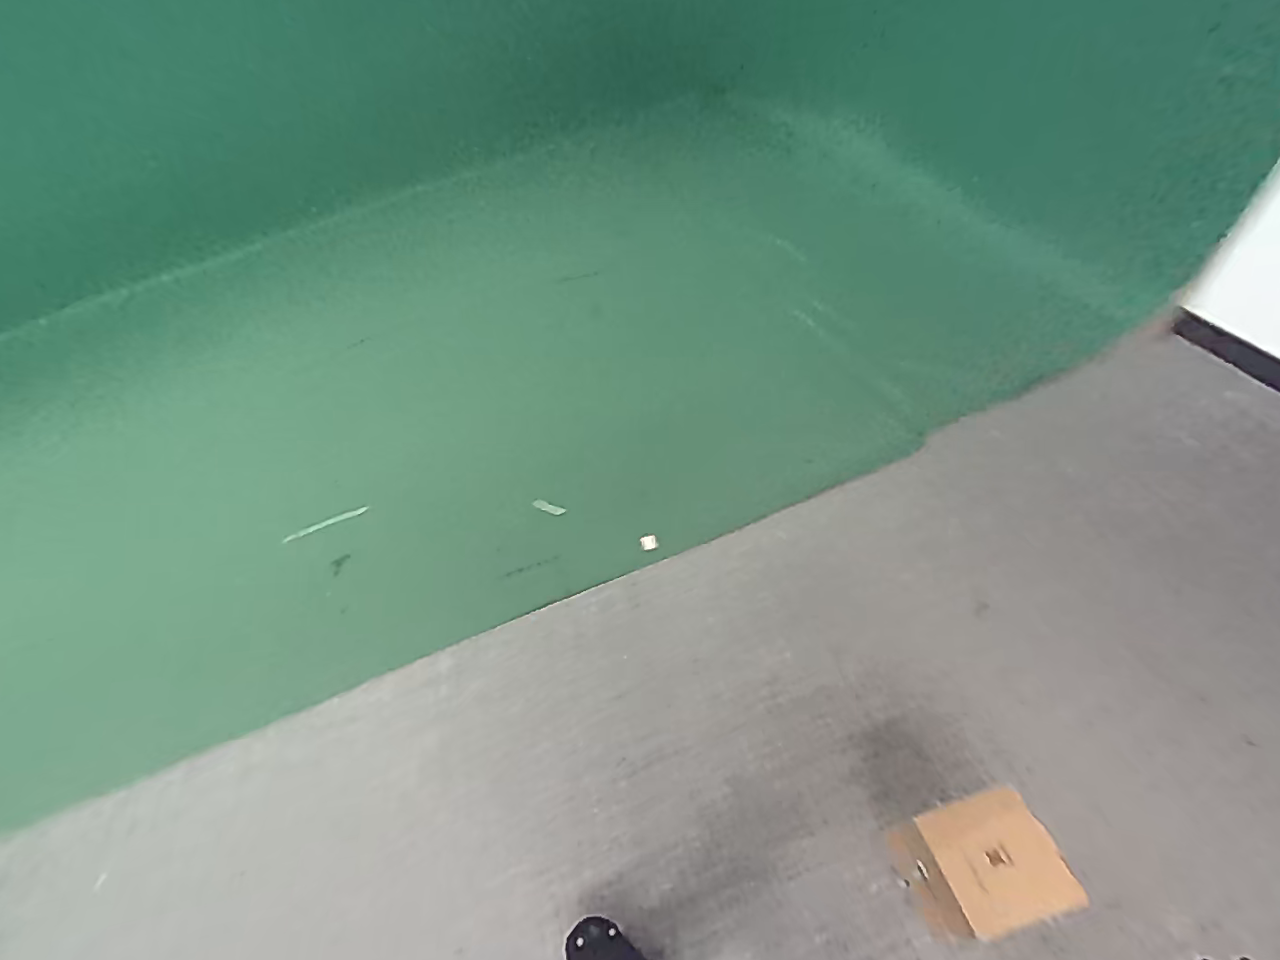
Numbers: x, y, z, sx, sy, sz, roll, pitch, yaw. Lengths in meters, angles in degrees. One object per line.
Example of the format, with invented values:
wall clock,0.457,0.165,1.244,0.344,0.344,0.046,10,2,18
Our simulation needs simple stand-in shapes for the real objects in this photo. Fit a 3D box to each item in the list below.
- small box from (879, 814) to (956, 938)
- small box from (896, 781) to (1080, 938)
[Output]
small box,0.581,0.728,1.024,0.168,0.176,0.179,-18,52,-1
small box,0.557,0.628,0.898,0.179,0.176,0.168,-19,50,-1
